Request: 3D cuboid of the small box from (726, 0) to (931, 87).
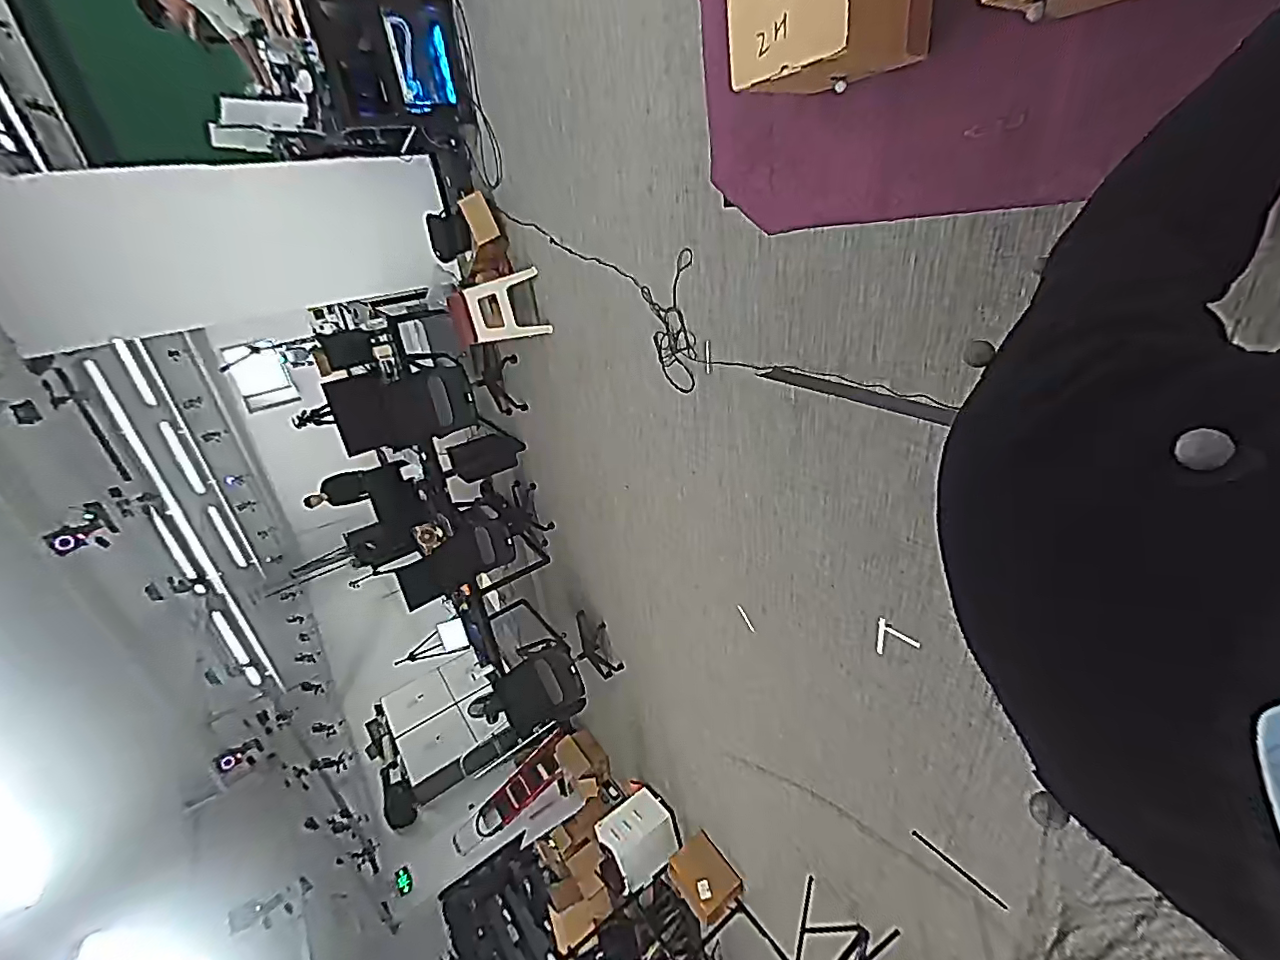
[{"bbox_3d":[0.215,-0.571,0.615,0.168,0.176,0.179,25,132,49],"label":"small box"}]
